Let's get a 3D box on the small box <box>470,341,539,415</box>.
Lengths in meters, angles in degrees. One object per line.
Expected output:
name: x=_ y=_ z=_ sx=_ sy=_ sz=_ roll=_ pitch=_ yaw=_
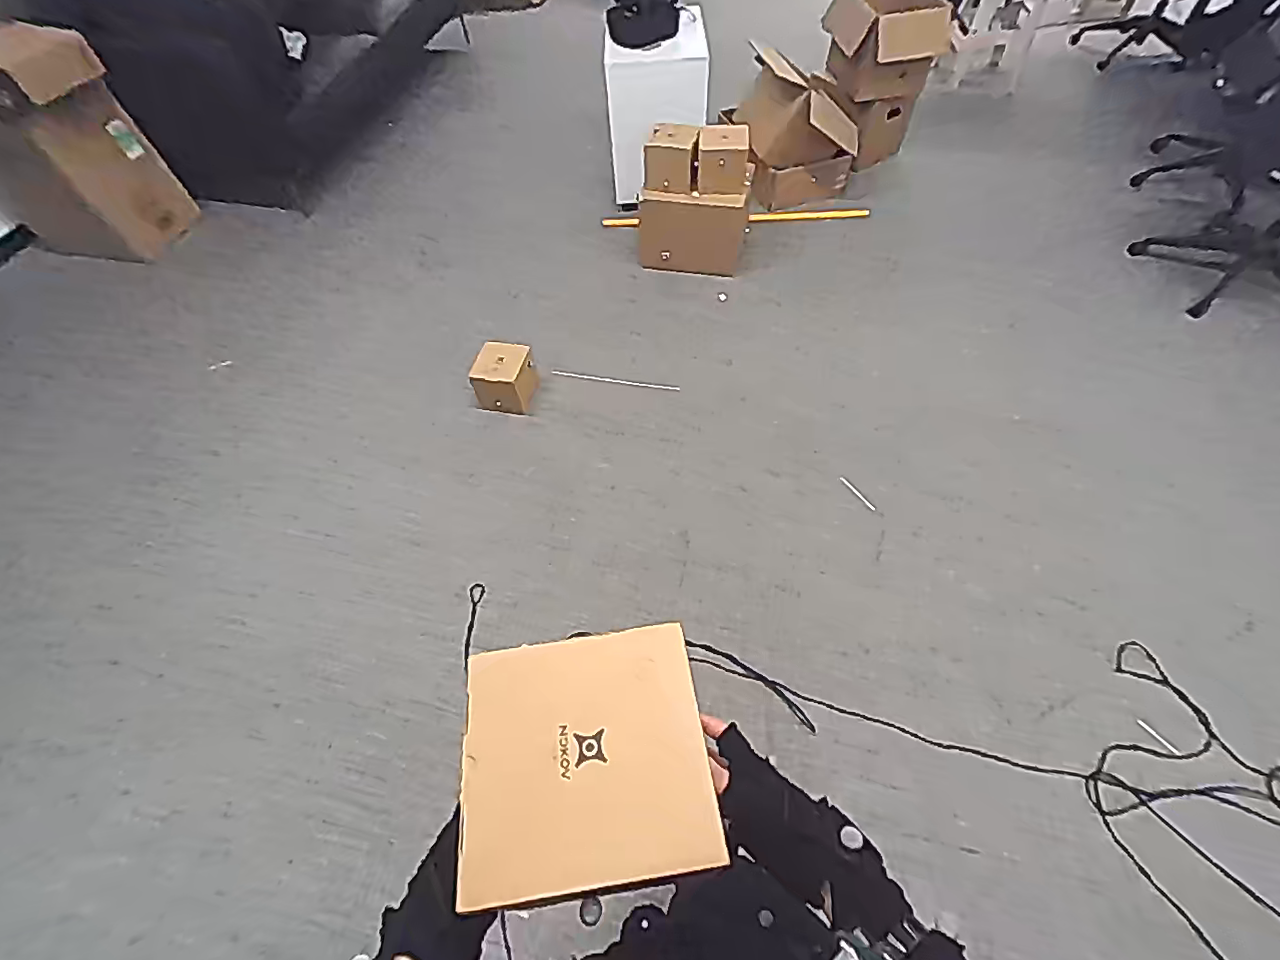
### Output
small box: x=-0.463 y=-0.355 z=1.885 sx=0.168 sy=0.176 sz=0.179 roll=9 pitch=58 yaw=9

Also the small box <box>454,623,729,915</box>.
small box: x=-0.036 y=0.237 z=0.446 sx=0.179 sy=0.176 sz=0.168 roll=-9 pitch=53 yaw=-2
